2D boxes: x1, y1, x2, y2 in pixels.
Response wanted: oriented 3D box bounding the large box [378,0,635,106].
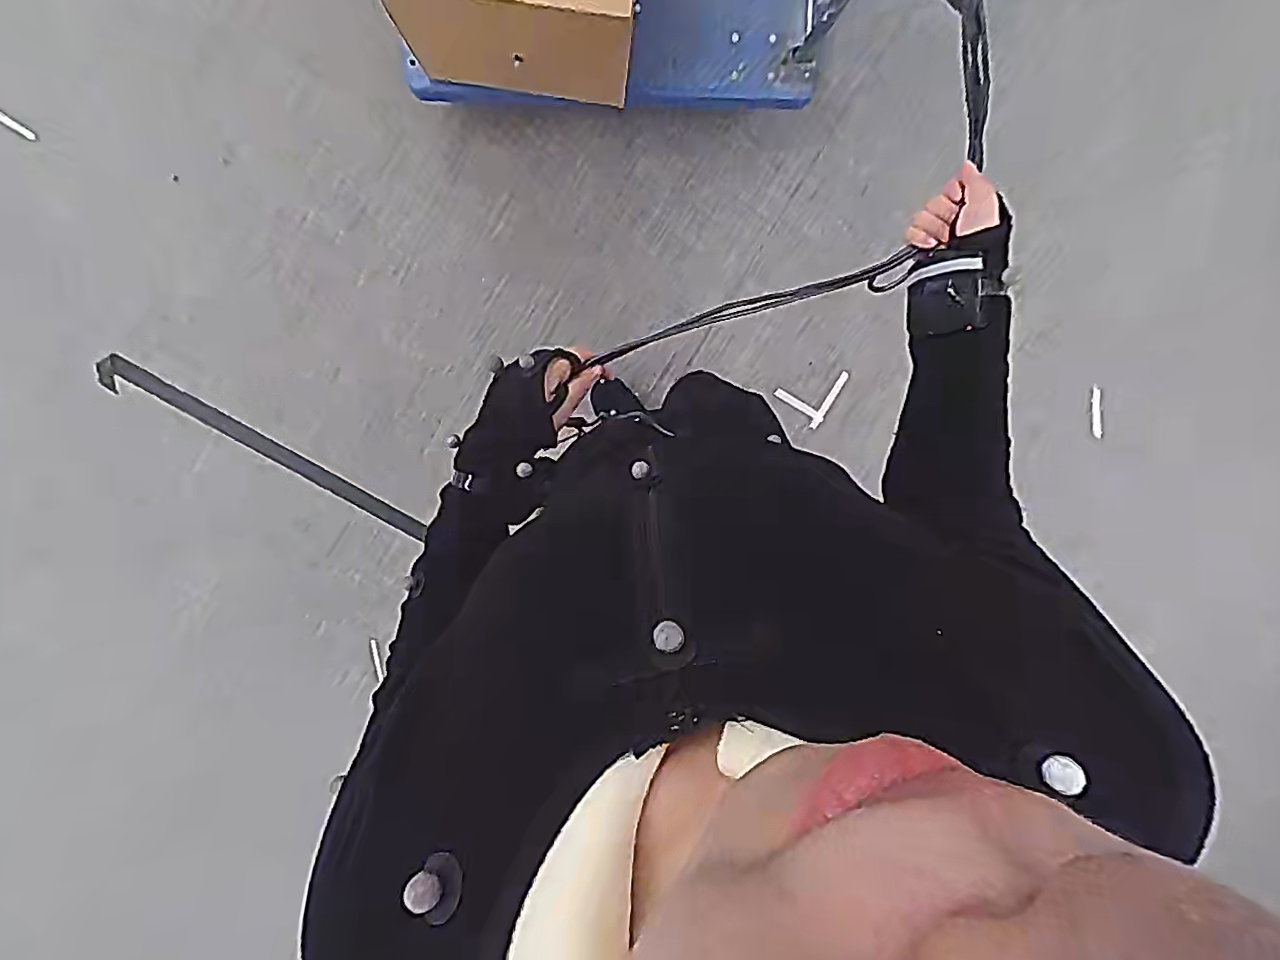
[{"bbox_3d":[-0.208,-0.907,0.945,0.408,0.320,0.320,4,101,-5],"label":"large box"}]
